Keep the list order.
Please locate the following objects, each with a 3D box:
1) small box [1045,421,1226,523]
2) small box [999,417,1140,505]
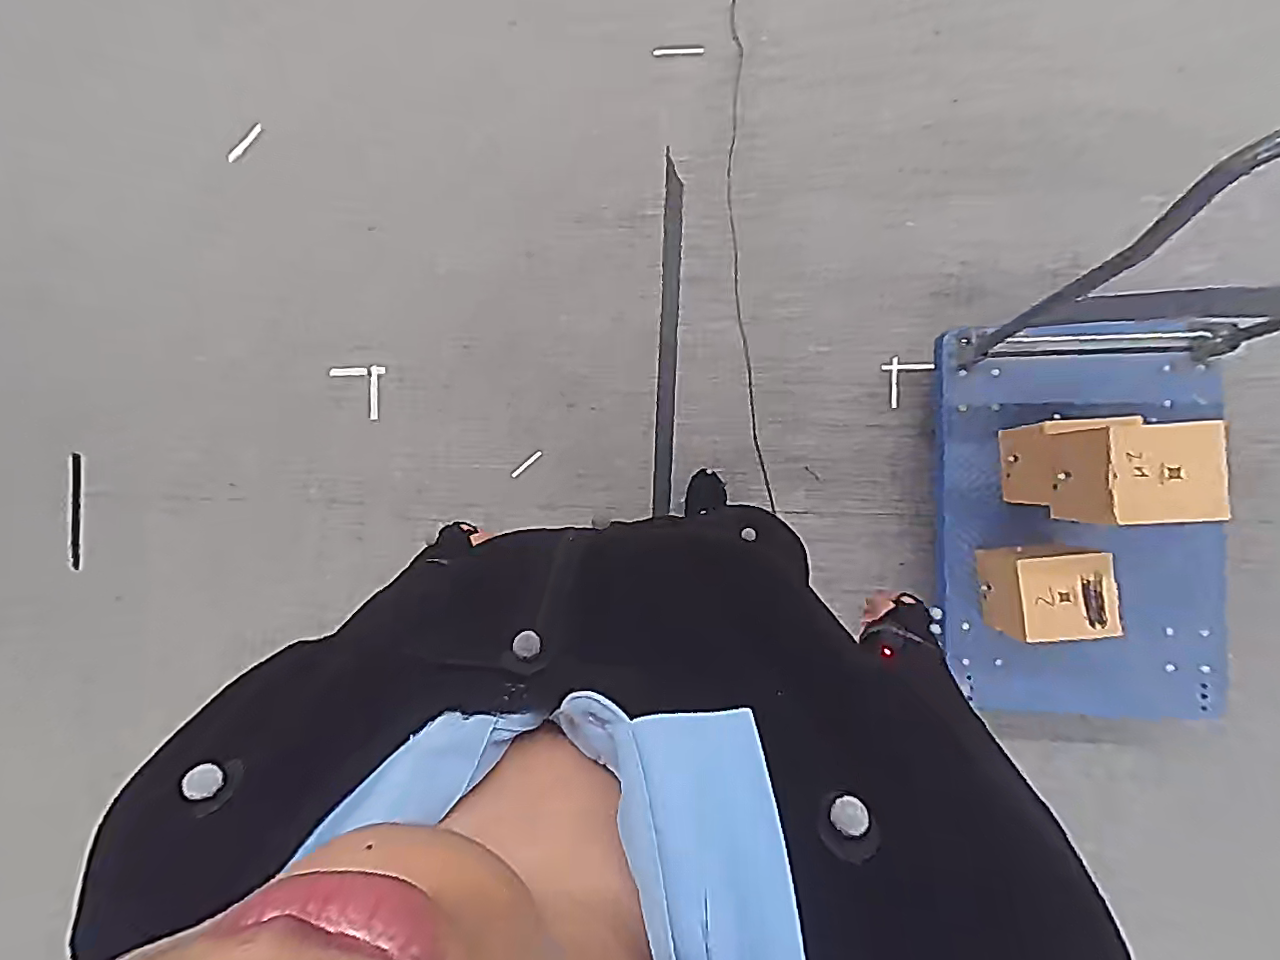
[{"bbox_3d":[0.873,-0.013,0.967,0.179,0.176,0.168,-3,89,7],"label":"small box"},{"bbox_3d":[0.891,-0.038,1.131,0.179,0.176,0.168,-4,89,7],"label":"small box"}]
